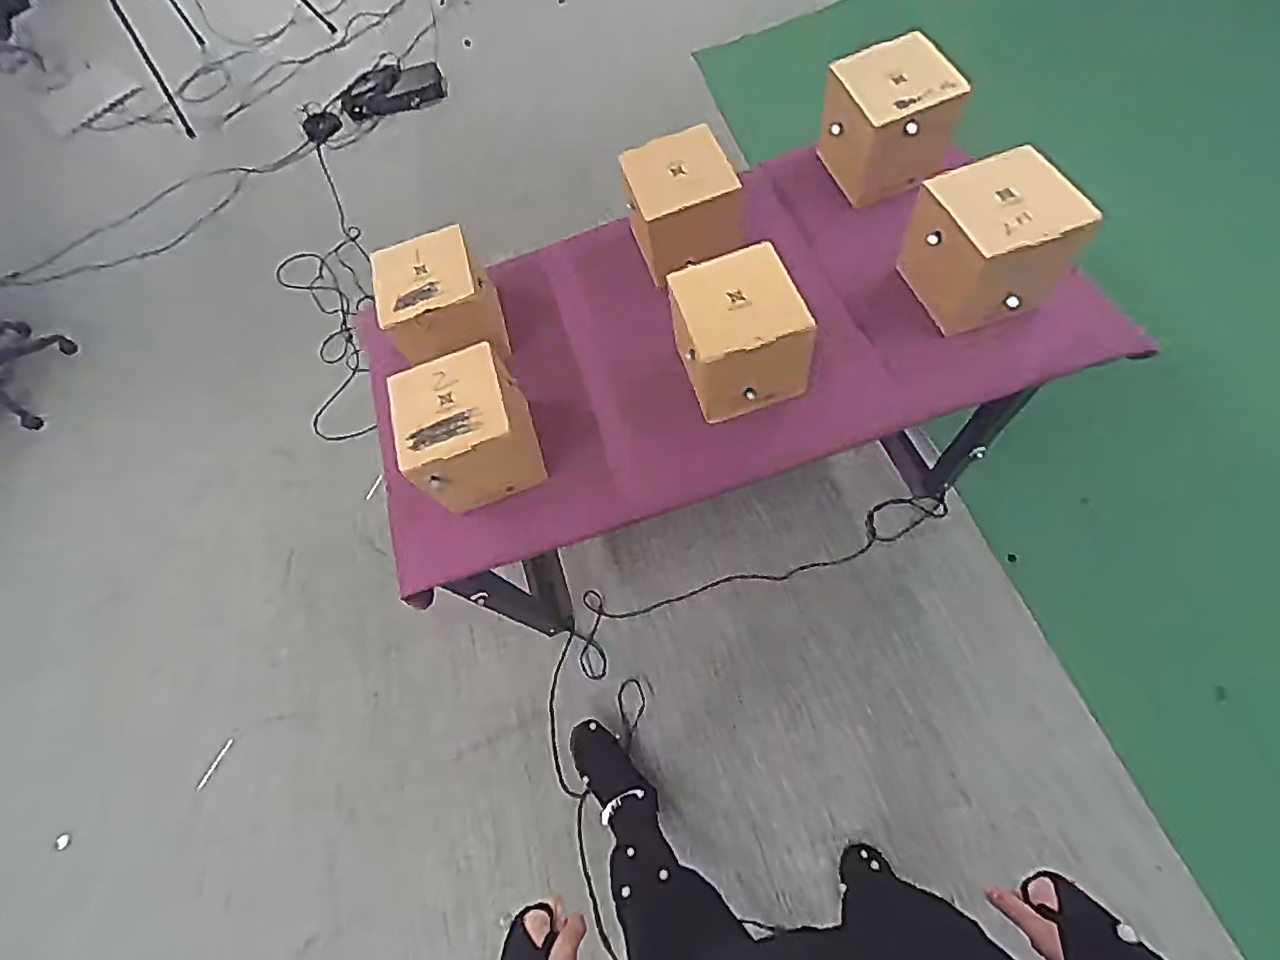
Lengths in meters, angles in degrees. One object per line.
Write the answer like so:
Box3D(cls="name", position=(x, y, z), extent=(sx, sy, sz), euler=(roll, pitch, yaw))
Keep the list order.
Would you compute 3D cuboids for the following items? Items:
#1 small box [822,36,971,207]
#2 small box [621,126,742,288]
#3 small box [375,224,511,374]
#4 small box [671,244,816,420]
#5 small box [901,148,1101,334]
Box3D(cls="small box", position=(0.445, -0.638, 0.975), extent=(0.168, 0.176, 0.179), euler=(-20, 66, 3))
Box3D(cls="small box", position=(0.076, -0.486, 0.978), extent=(0.168, 0.176, 0.179), euler=(-18, 66, 2))
Box3D(cls="small box", position=(-0.347, -0.312, 0.973), extent=(0.168, 0.176, 0.179), euler=(-18, 65, 1))
Box3D(cls="small box", position=(0.155, -0.225, 0.849), extent=(0.168, 0.176, 0.179), euler=(-18, 64, 2))
Box3D(cls="small box", position=(0.535, -0.362, 0.837), extent=(0.168, 0.176, 0.179), euler=(-18, 63, 3))
